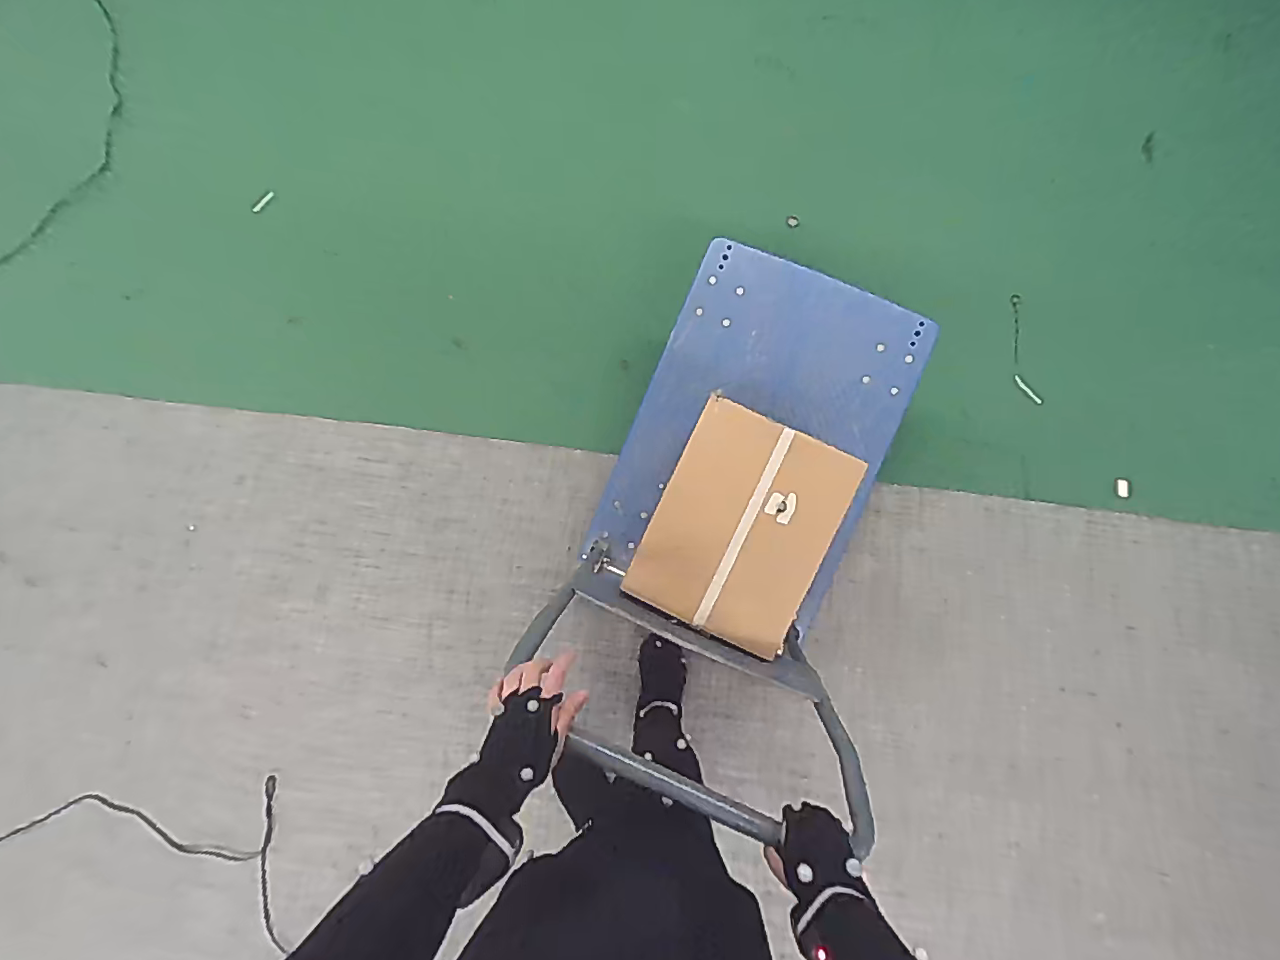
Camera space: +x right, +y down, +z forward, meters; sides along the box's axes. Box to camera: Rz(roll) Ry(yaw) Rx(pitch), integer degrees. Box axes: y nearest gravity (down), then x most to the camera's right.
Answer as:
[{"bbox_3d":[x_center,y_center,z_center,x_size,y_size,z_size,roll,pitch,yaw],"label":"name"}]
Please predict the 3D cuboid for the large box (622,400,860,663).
[{"bbox_3d":[0.193,0.097,1.138,0.320,0.320,0.408,25,91,3],"label":"large box"}]
